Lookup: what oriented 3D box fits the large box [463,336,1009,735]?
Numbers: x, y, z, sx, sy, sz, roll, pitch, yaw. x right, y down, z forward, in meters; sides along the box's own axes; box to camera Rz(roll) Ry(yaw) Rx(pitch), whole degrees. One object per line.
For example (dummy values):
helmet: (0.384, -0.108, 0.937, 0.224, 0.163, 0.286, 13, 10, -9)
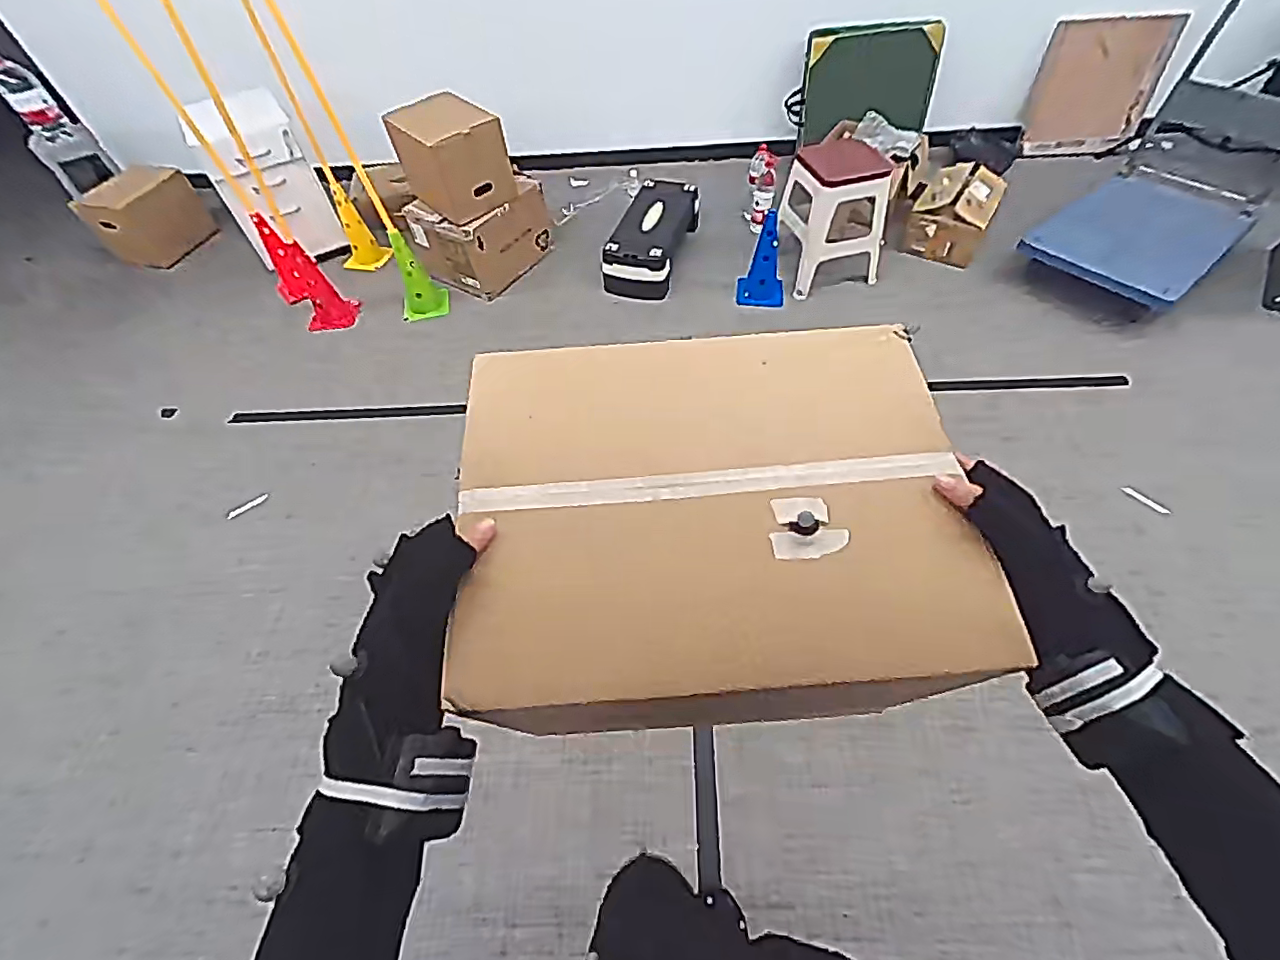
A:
large box: (0.061, 0.079, 0.586, 0.408, 0.320, 0.320, -4, 62, 0)
